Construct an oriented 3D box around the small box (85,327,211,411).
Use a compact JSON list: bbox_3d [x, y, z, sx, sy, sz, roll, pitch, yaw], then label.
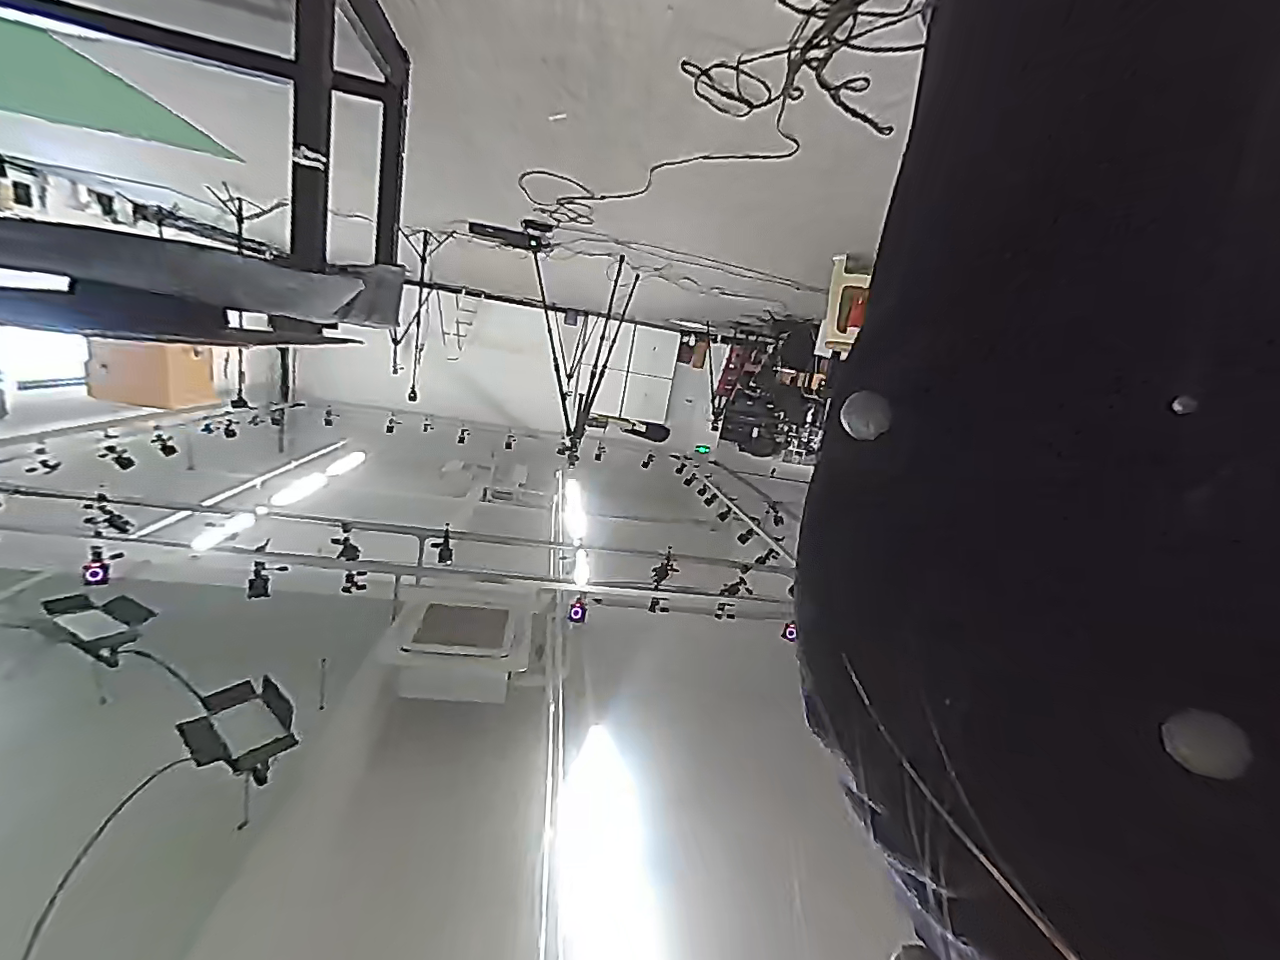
[{"bbox_3d":[-1.183,-0.274,1.309,0.179,0.176,0.168,8,-165,-8],"label":"small box"}]
